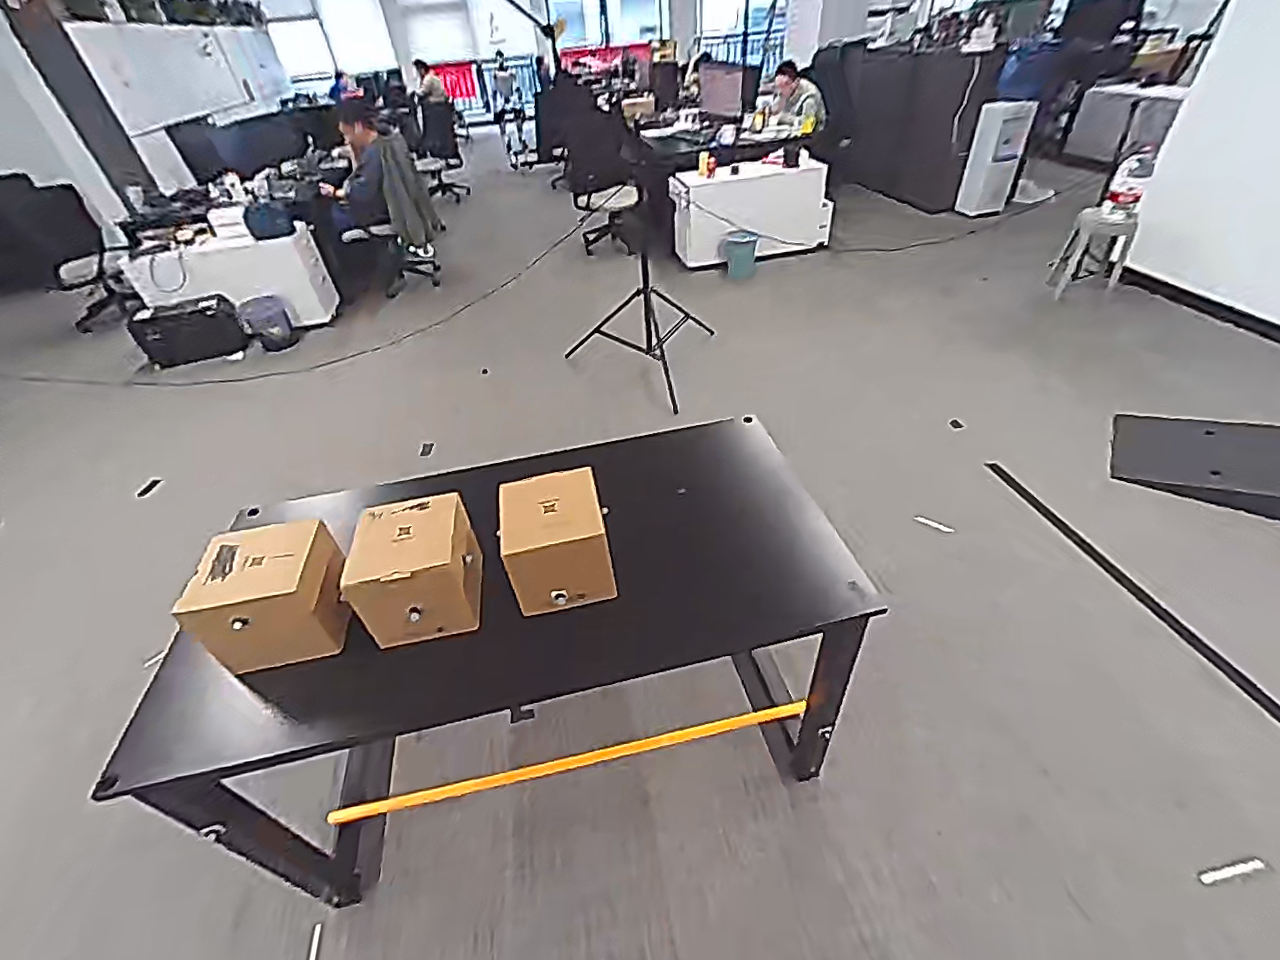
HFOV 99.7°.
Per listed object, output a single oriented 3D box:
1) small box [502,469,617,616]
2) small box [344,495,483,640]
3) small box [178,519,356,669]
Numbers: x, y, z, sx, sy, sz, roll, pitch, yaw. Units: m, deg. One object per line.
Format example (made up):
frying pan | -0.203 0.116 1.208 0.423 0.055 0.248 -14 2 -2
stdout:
small box | -0.143 0.110 0.959 0.168 0.176 0.179 -13 41 -6
small box | -0.374 0.155 0.931 0.168 0.176 0.179 -10 41 -5
small box | -0.603 0.193 0.910 0.179 0.176 0.168 -10 41 -7
